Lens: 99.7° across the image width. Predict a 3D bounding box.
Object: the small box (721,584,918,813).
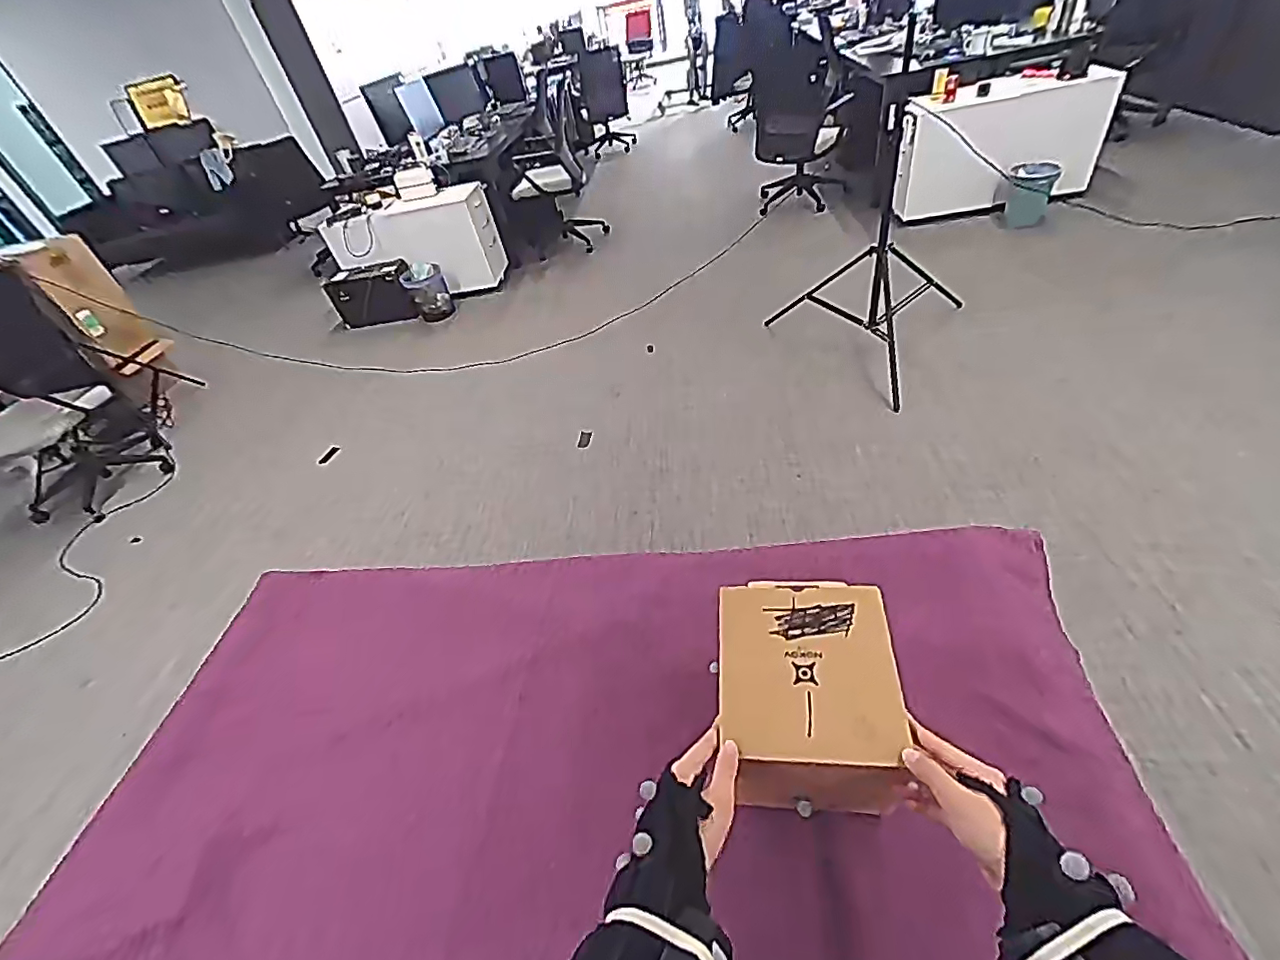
[{"bbox_3d":[0.175,0.230,0.576,0.168,0.176,0.179,-3,47,12],"label":"small box"}]
